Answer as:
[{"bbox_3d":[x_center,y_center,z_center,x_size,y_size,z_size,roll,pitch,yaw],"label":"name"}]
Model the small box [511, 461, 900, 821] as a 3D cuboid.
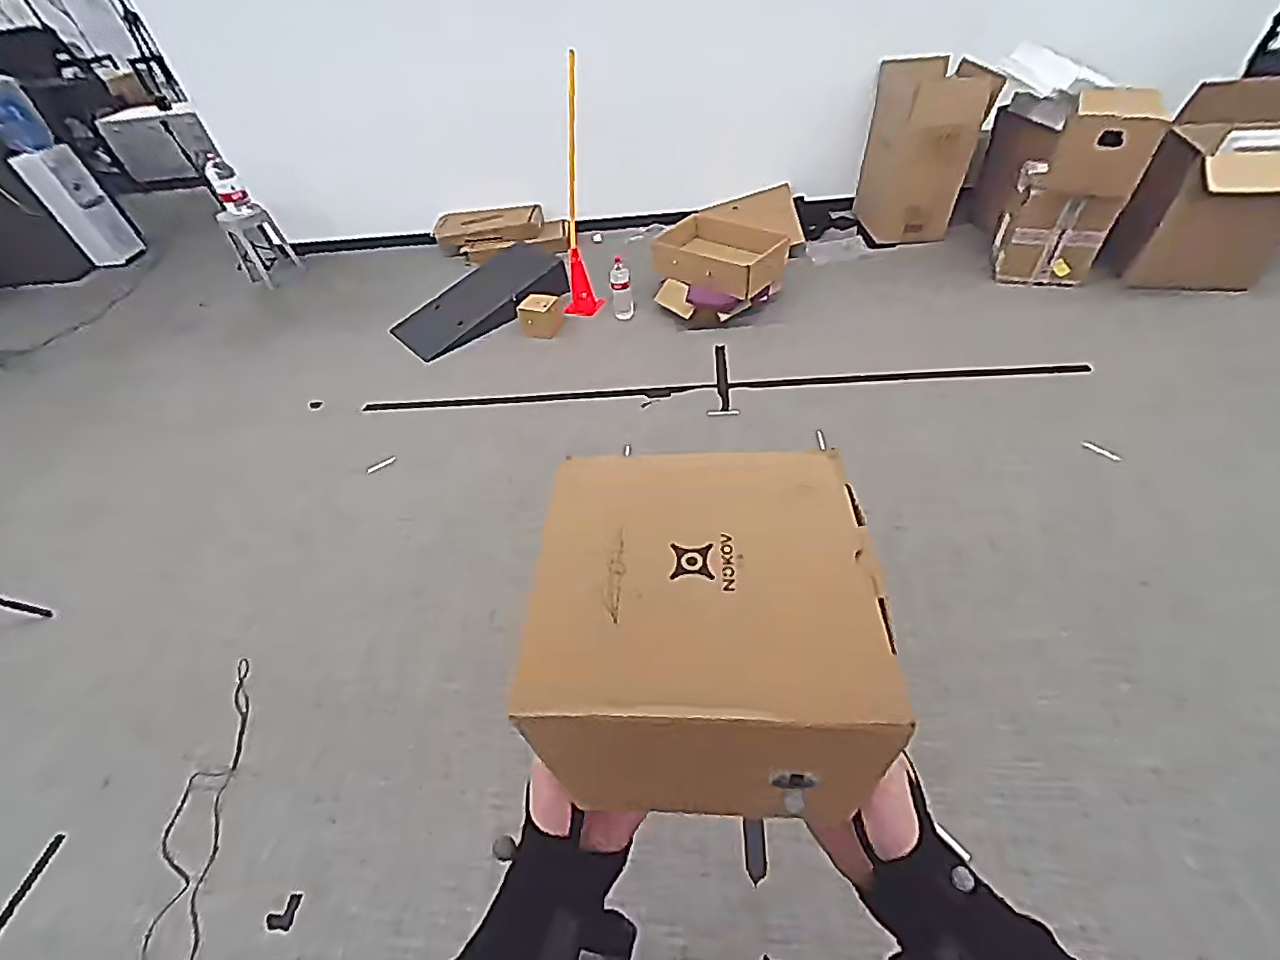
[{"bbox_3d":[0.040,0.106,0.351,0.179,0.176,0.168,-3,46,8],"label":"small box"}]
